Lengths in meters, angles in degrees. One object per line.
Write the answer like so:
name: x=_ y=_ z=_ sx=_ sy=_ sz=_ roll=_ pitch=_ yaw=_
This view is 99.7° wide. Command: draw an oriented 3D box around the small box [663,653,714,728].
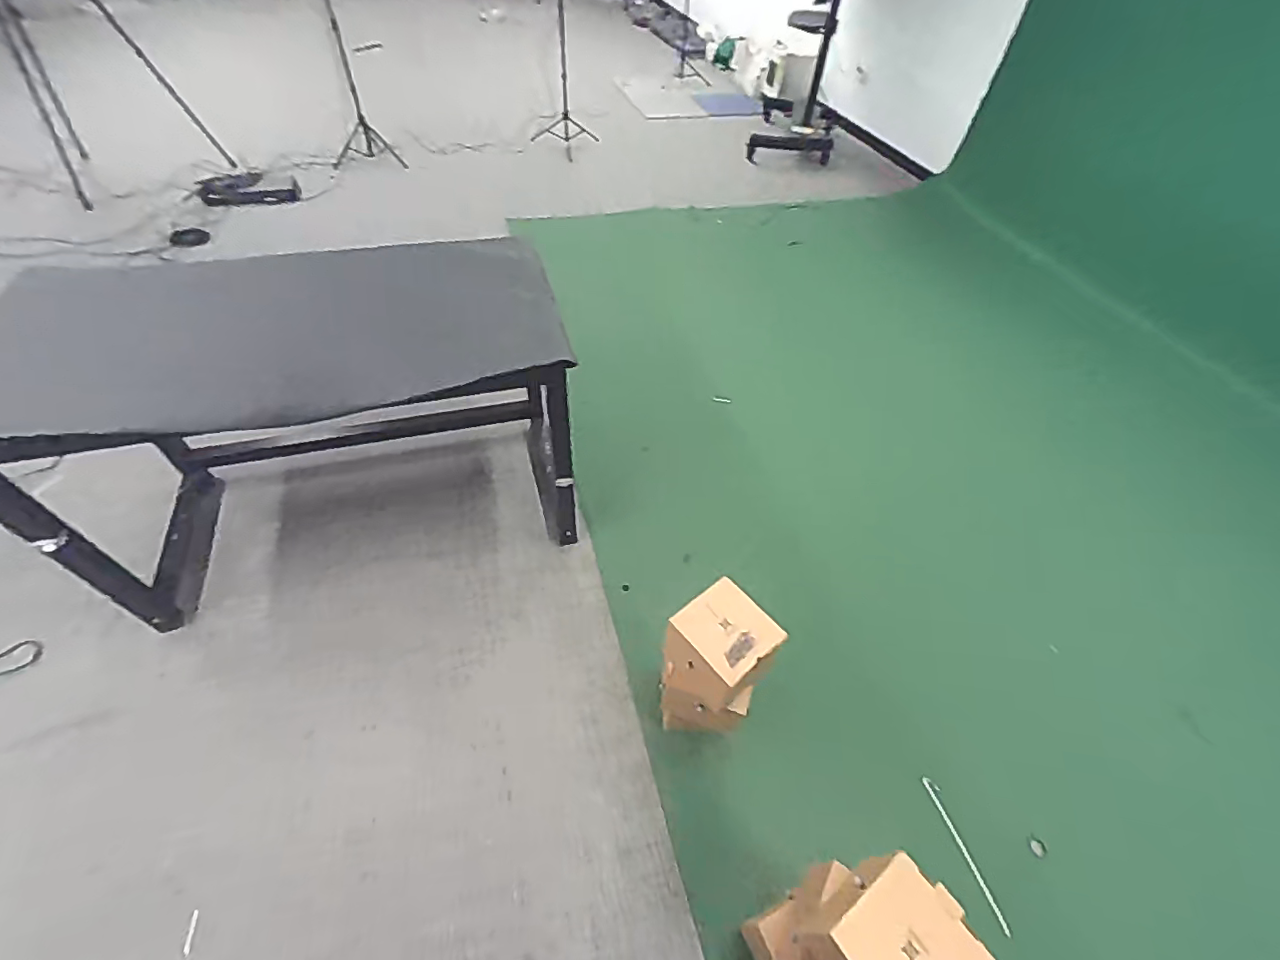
small box: x=0.149 y=0.529 z=1.388 sx=0.179 sy=0.176 sz=0.168 roll=2 pitch=51 yaw=-3

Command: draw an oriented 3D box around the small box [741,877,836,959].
small box: x=0.326 y=0.924 z=1.071 sx=0.179 sy=0.176 sz=0.168 roll=-18 pitch=54 yaw=-19

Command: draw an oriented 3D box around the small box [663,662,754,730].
small box: x=0.161 y=0.451 z=1.243 sx=0.179 sy=0.176 sz=0.168 roll=18 pitch=53 yaw=10

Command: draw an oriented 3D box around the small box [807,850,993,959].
small box: x=0.379 y=0.713 z=0.825 sx=0.179 sy=0.176 sz=0.168 roll=-27 pitch=58 yaw=-24

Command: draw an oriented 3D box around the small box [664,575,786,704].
small box: x=0.168 y=0.339 z=1.123 sx=0.168 sy=0.176 sz=0.179 roll=-31 pitch=58 yaw=-25
